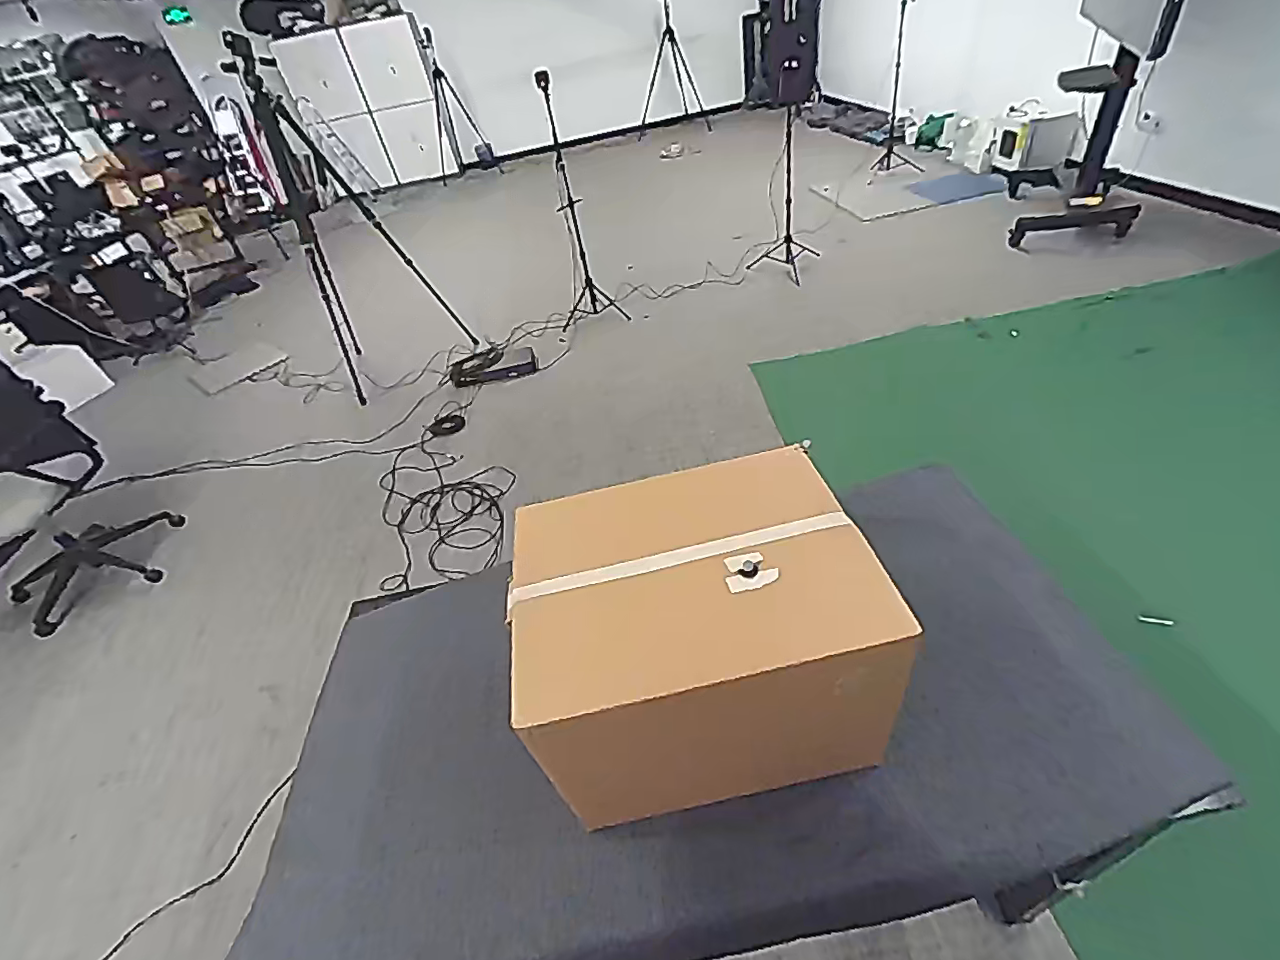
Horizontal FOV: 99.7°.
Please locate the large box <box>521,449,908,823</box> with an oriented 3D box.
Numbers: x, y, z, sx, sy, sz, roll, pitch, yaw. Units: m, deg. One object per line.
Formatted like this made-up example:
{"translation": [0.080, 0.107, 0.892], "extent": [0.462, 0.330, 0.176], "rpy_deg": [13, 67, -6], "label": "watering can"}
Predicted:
{"translation": [0.075, 0.208, 0.741], "extent": [0.408, 0.320, 0.320], "rpy_deg": [-13, 41, -1], "label": "large box"}
